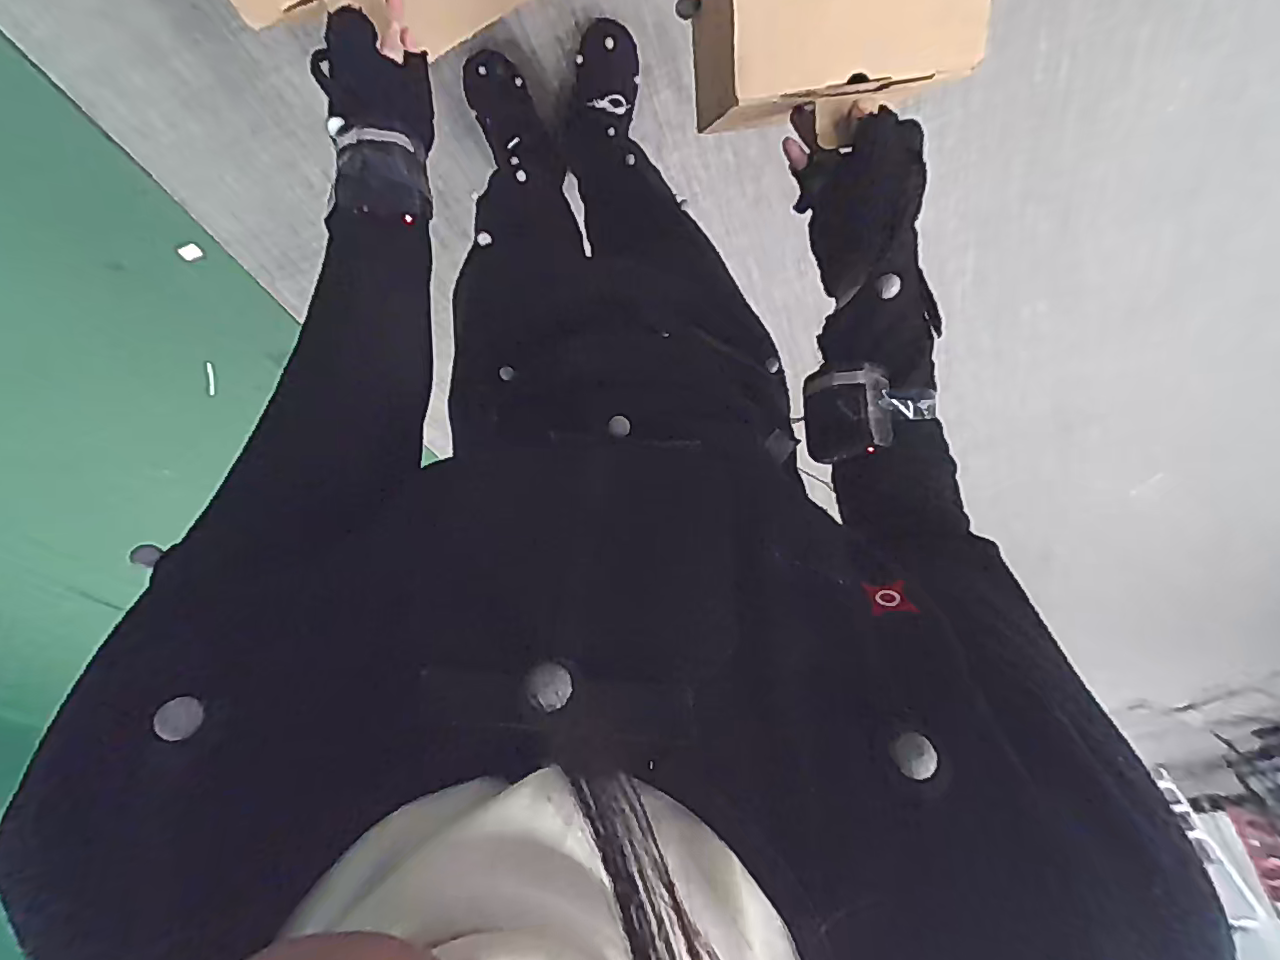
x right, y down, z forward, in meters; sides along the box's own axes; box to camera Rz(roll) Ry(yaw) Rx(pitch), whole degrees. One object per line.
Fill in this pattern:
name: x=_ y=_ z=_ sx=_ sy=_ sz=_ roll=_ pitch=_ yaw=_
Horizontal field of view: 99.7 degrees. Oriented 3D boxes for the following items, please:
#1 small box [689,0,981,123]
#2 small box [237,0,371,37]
small box: x=0.130 y=-0.378 z=0.399 sx=0.168 sy=0.176 sz=0.179 roll=-8 pitch=117 yaw=-1
small box: x=-0.261 y=-0.490 z=0.418 sx=0.168 sy=0.176 sz=0.179 roll=-18 pitch=131 yaw=13
